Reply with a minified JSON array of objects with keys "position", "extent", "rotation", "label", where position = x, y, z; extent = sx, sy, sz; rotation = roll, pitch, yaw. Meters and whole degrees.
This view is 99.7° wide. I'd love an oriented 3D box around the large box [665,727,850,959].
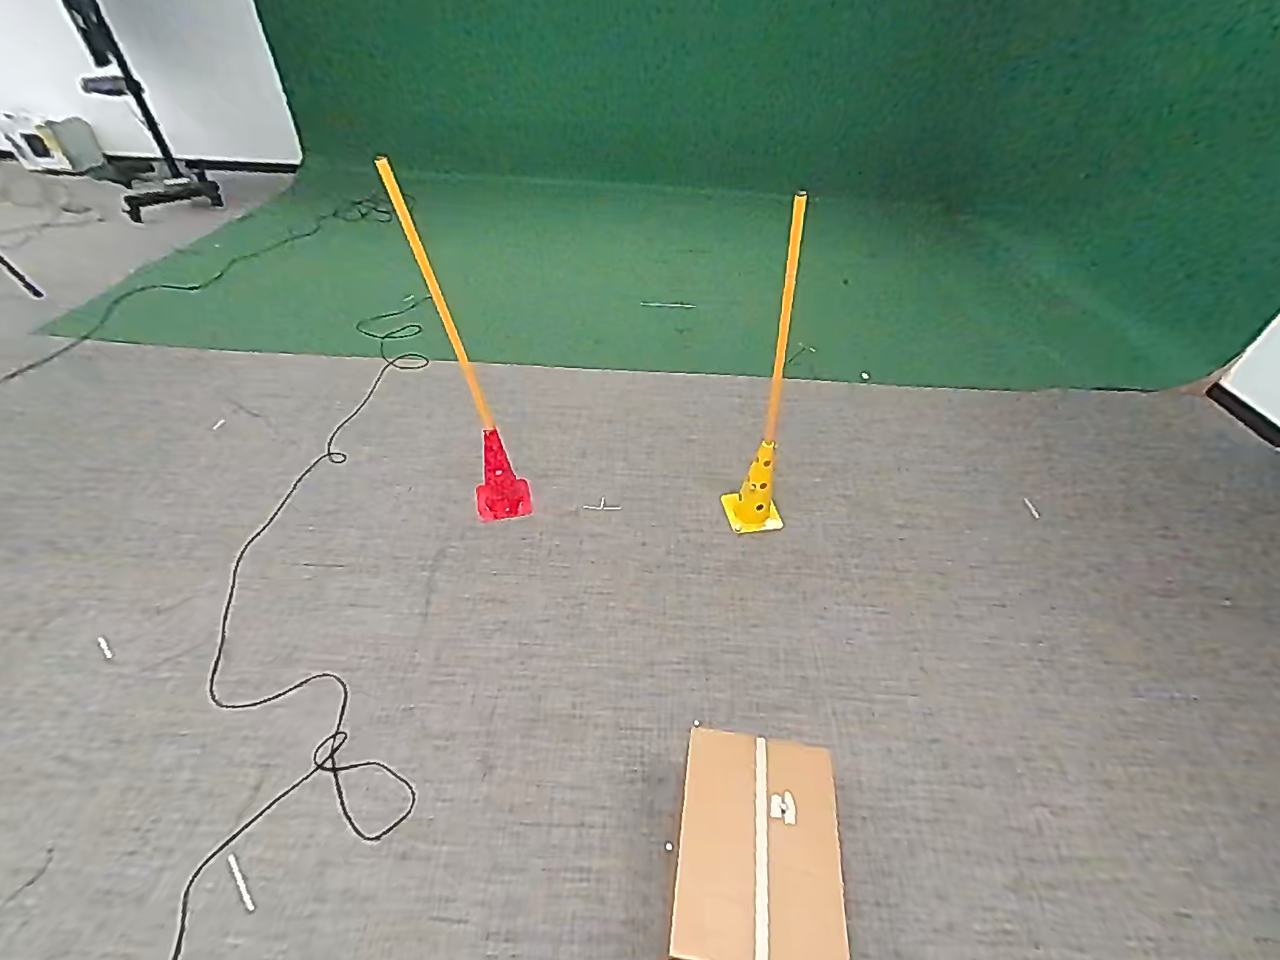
[{"position":[0.231,0.820,1.165],"extent":[0.320,0.320,0.408],"rotation":[8,42,5],"label":"large box"}]
